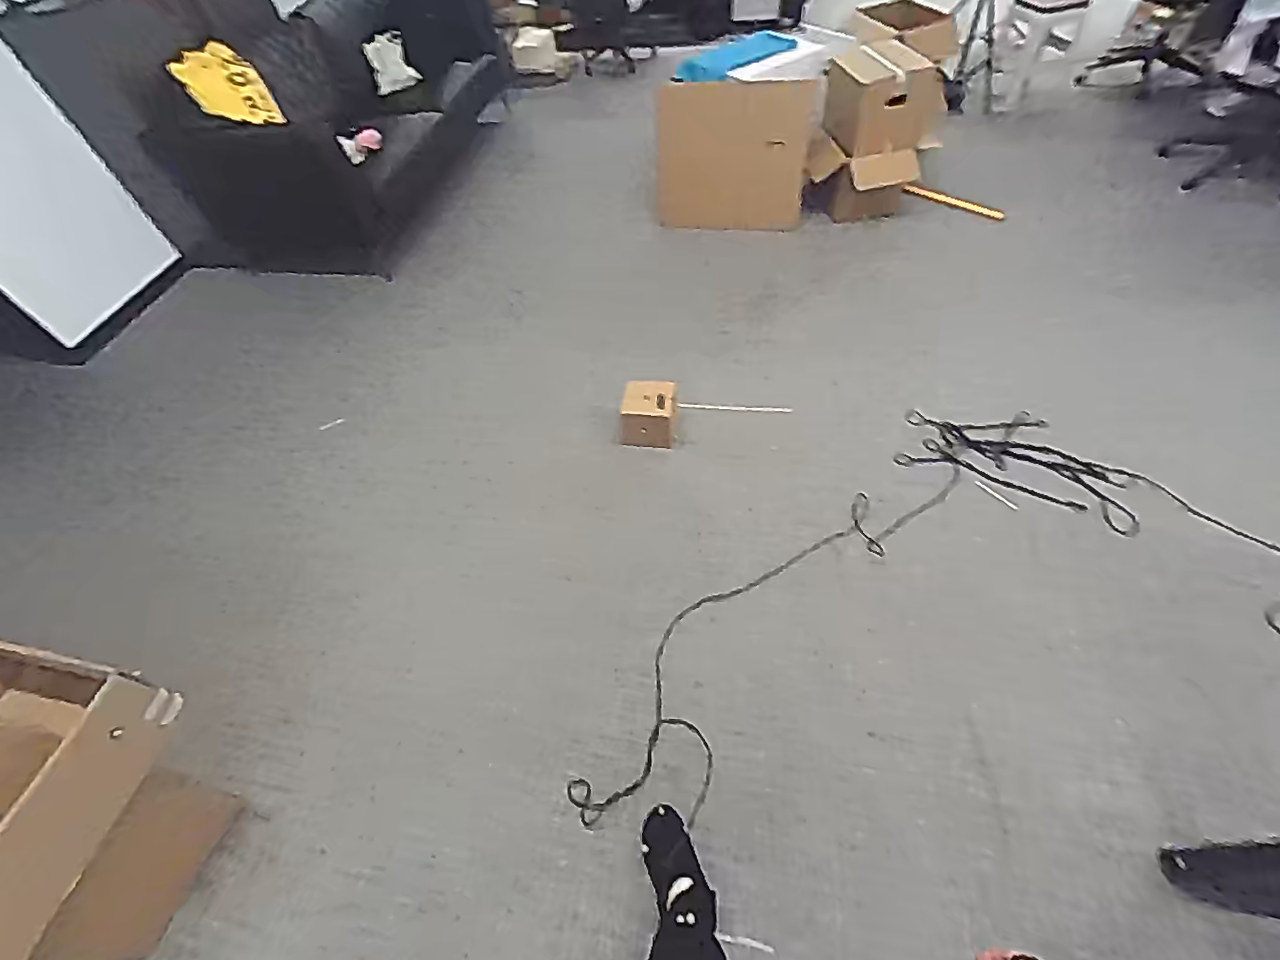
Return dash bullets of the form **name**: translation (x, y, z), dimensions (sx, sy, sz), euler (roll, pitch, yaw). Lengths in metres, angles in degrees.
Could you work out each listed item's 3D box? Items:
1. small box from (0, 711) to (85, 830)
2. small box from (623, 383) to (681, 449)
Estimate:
- **small box**: translation (-1.189, 0.512, 0.969), dimensions (0.179, 0.176, 0.168), euler (8, 56, 13)
- **small box**: translation (0.048, -0.225, 1.920), dimensions (0.179, 0.176, 0.168), euler (4, 53, 11)
